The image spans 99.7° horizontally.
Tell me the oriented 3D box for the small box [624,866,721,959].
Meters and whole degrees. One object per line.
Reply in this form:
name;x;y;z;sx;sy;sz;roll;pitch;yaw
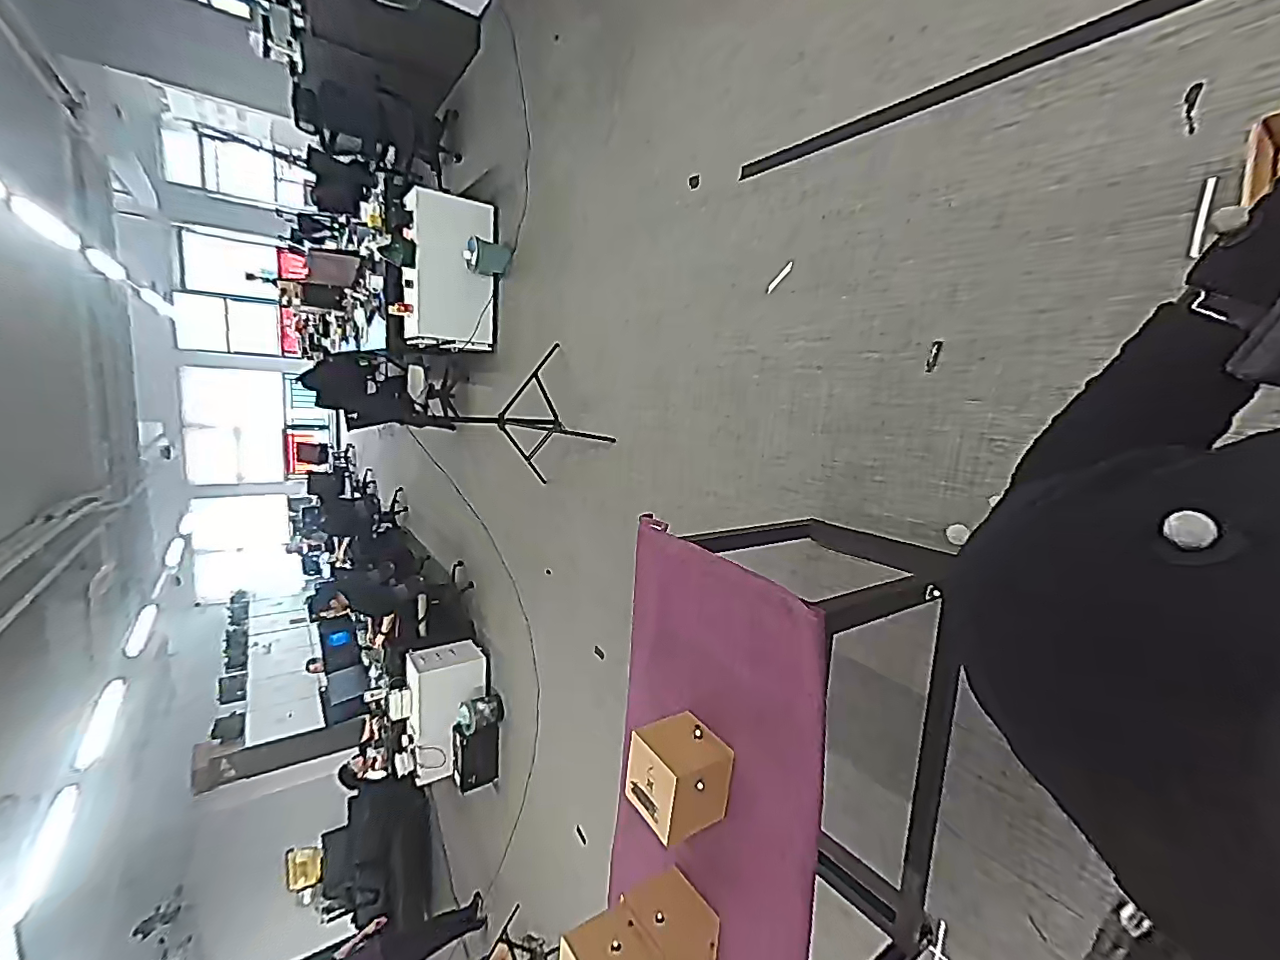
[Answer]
small box;0.074;1.078;1.289;0.179;0.176;0.168;17;106;54

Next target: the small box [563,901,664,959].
small box;-0.056;1.089;1.188;0.168;0.176;0.179;16;105;54
